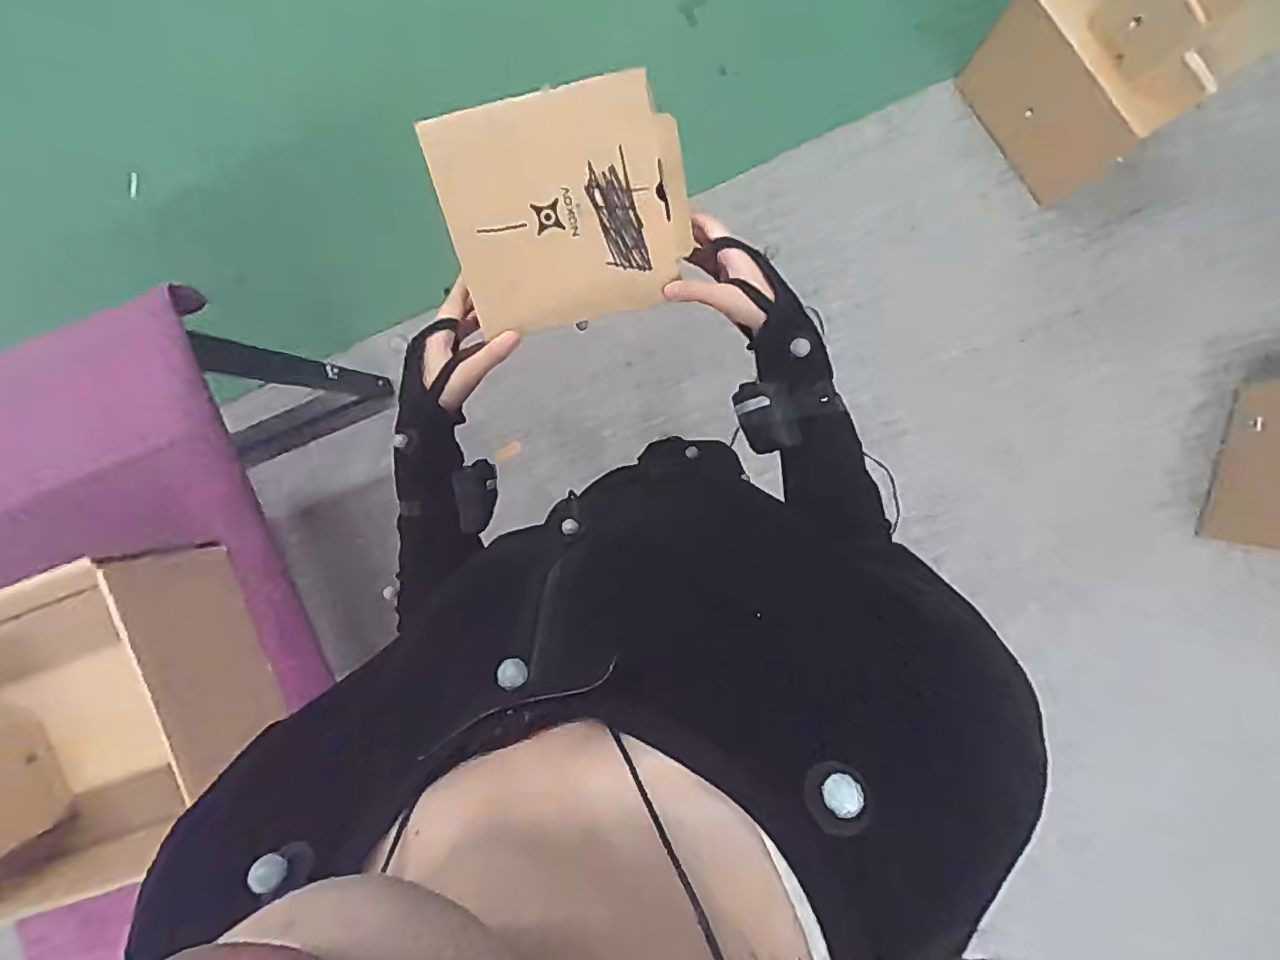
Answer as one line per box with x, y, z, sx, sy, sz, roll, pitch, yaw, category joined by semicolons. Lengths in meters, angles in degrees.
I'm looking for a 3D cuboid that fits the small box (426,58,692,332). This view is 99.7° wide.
-0.061;-0.244;0.490;0.179;0.176;0.168;-12;113;2;small box

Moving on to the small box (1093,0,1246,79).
0.985;-0.893;0.986;0.179;0.176;0.168;-30;91;6;small box

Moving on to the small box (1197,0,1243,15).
0.980;-0.884;0.824;0.168;0.176;0.179;-29;91;6;small box

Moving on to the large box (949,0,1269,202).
1.014;-0.946;1.227;0.320;0.320;0.408;-36;89;4;large box
